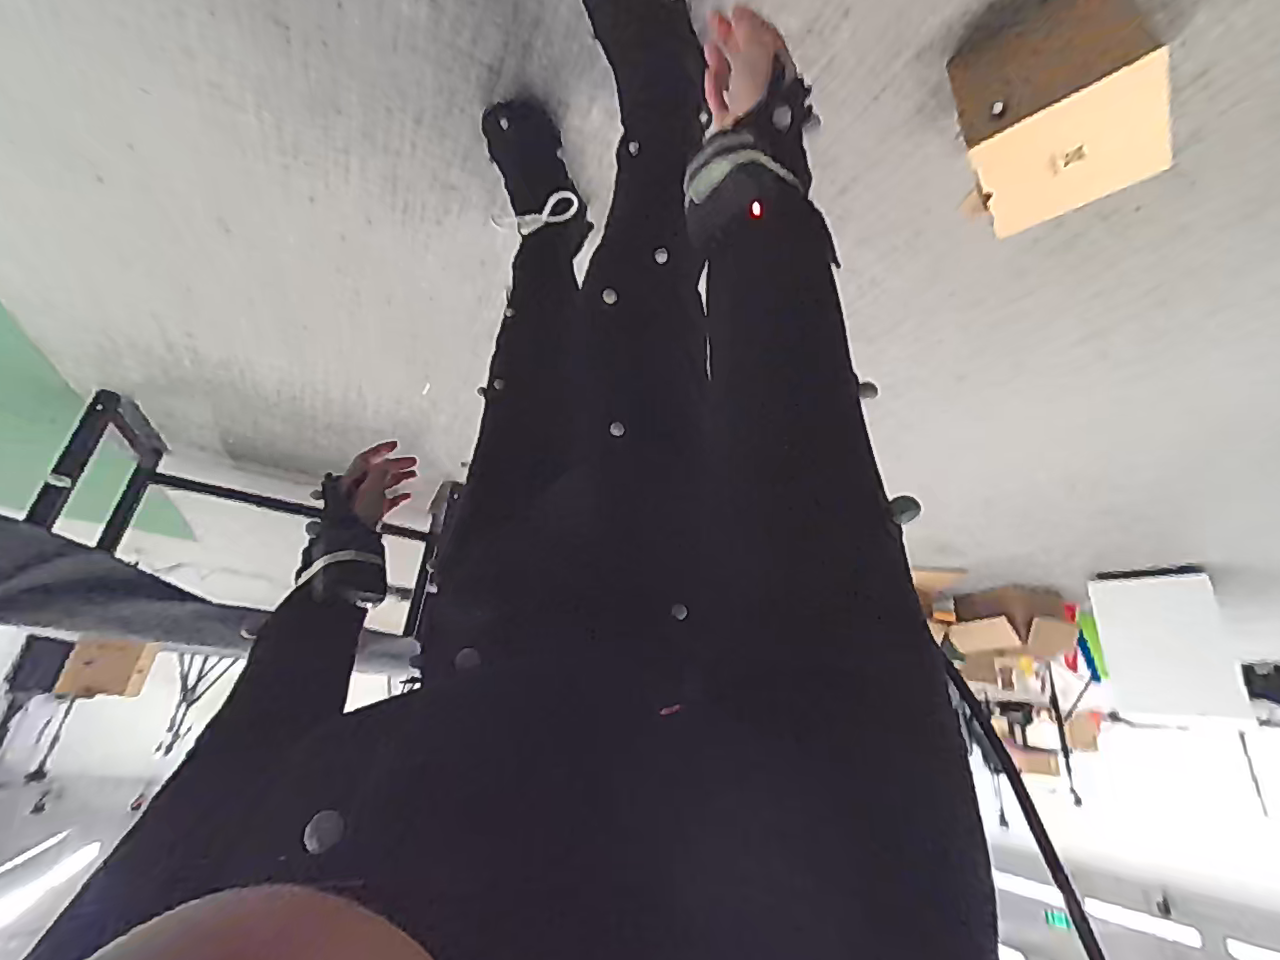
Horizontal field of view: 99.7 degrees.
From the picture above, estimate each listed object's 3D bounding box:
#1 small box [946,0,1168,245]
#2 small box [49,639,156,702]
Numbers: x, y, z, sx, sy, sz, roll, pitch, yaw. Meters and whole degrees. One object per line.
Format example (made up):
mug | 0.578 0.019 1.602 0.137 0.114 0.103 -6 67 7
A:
small box | 0.502 -0.440 0.661 0.179 0.176 0.168 -16 149 40
small box | -1.685 0.600 1.707 0.168 0.176 0.179 17 155 -22
